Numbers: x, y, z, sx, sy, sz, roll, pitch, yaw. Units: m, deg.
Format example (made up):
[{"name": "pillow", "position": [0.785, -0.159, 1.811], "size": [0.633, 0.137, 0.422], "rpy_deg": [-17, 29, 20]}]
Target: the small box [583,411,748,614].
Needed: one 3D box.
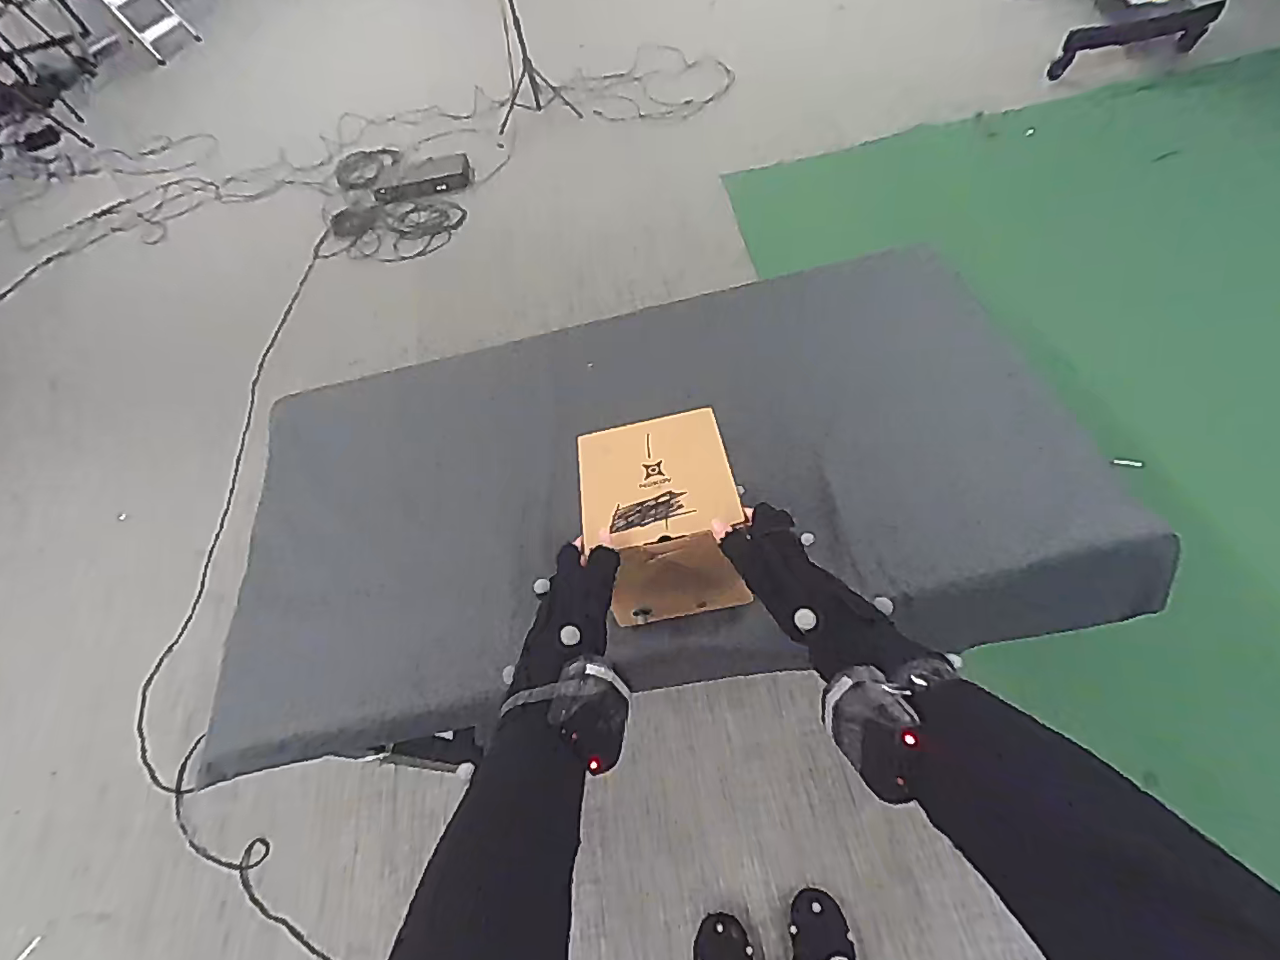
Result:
[{"name": "small box", "position": [0.033, 0.047, 0.655], "size": [0.168, 0.176, 0.179], "rpy_deg": [-11, 48, 5]}]
